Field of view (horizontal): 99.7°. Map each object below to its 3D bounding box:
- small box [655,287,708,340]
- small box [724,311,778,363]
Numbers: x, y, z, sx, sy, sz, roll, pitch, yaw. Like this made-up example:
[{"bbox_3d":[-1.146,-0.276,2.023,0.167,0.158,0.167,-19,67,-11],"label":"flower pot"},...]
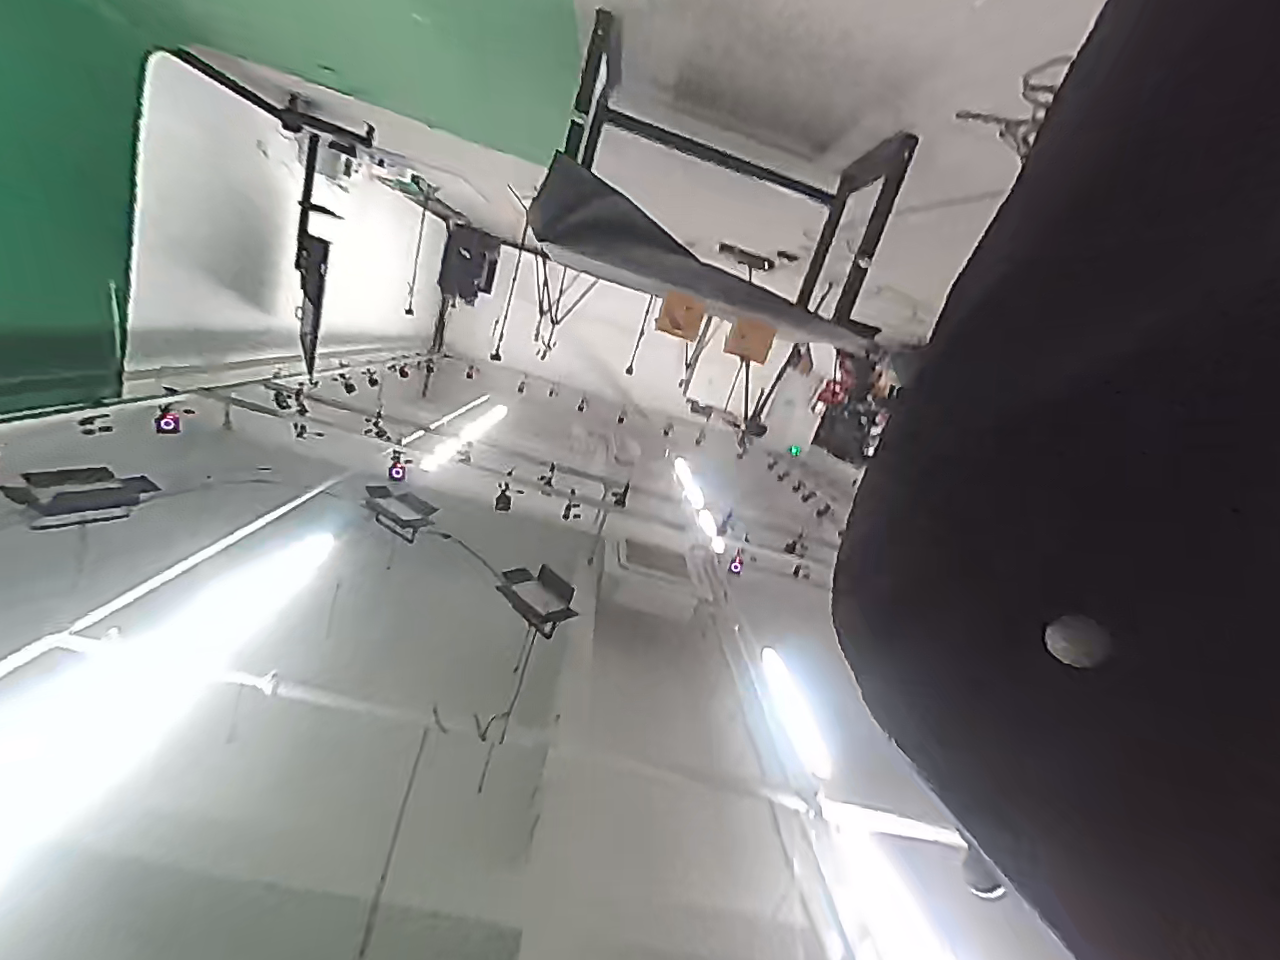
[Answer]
[{"bbox_3d":[0.170,-0.689,2.234,0.168,0.176,0.179,16,-166,-7],"label":"small box"},{"bbox_3d":[0.464,-0.601,2.263,0.168,0.176,0.179,19,-164,-2],"label":"small box"}]
